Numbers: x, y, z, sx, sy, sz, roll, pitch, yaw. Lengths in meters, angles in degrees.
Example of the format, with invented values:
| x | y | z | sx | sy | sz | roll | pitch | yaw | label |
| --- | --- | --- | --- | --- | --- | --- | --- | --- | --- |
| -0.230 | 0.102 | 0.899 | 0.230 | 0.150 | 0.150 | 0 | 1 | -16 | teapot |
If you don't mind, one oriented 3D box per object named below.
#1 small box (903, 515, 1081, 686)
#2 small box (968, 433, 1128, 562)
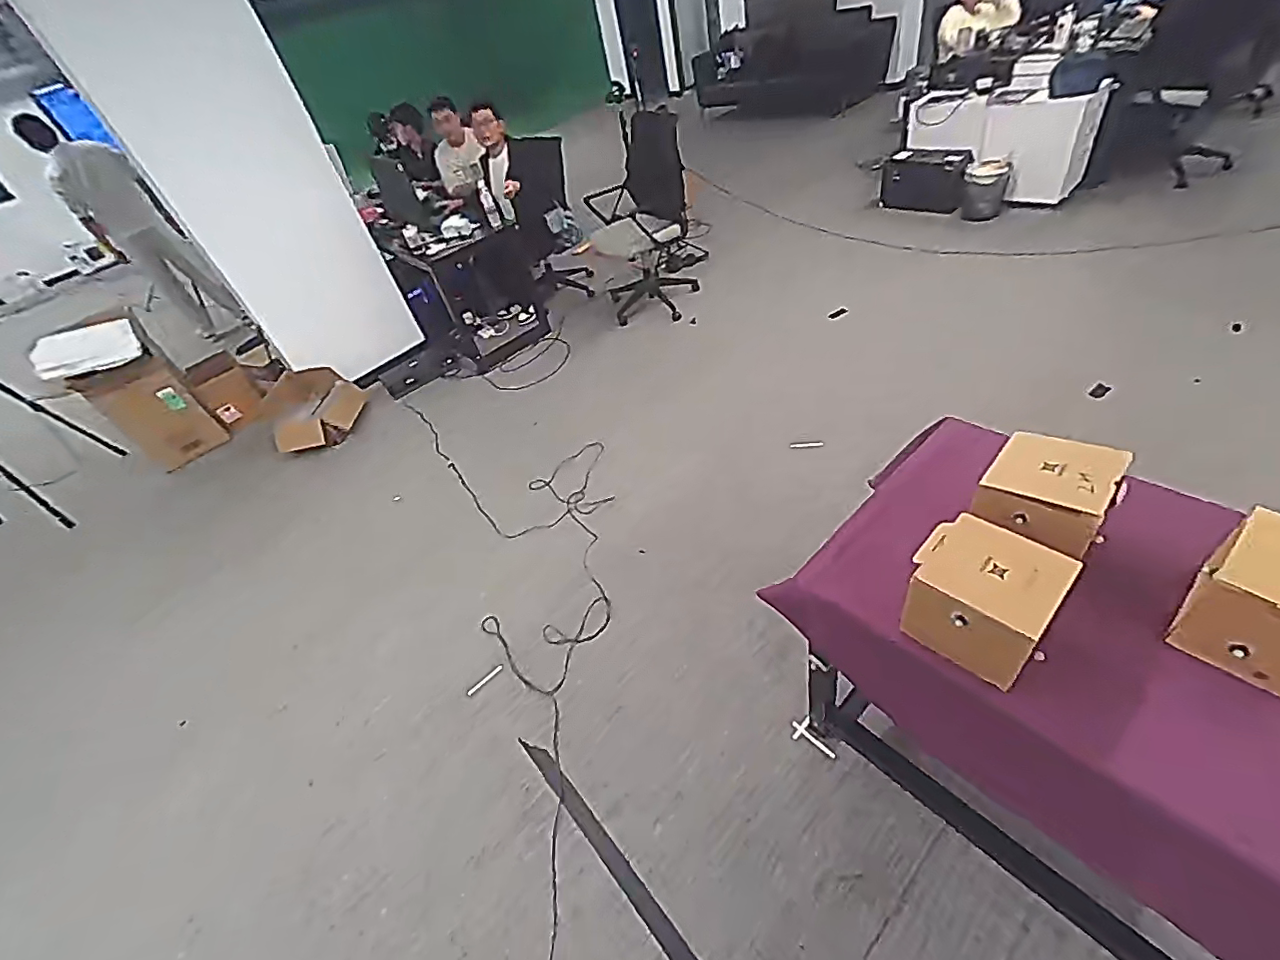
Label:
| x | y | z | sx | sy | sz | roll | pitch | yaw | label |
| --- | --- | --- | --- | --- | --- | --- | --- | --- | --- |
| 0.551 | 0.195 | 0.871 | 0.168 | 0.176 | 0.179 | -39 | 47 | -23 | small box |
| 0.715 | 0.048 | 0.973 | 0.179 | 0.176 | 0.168 | 29 | 59 | 37 | small box |
